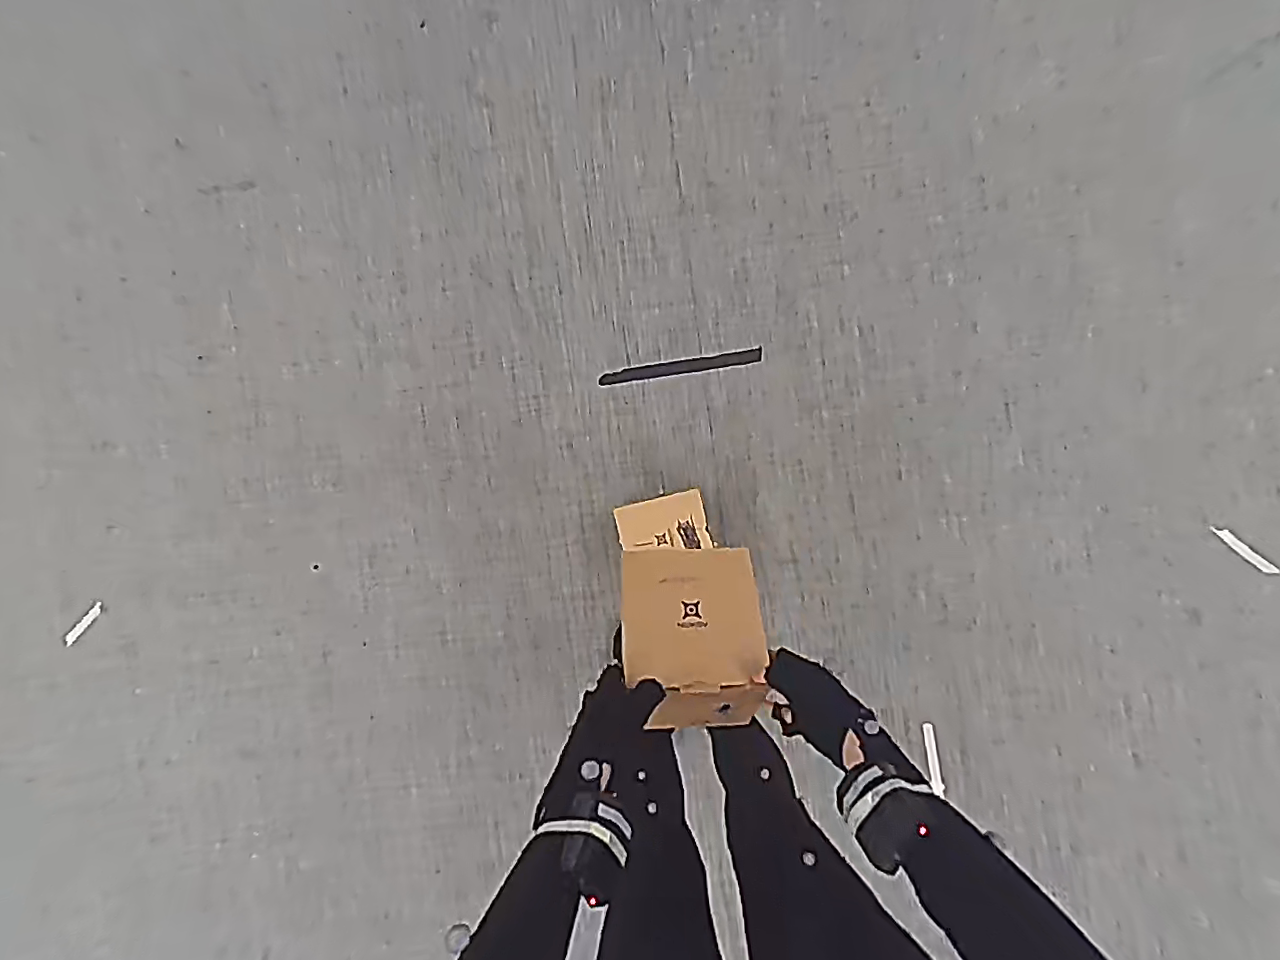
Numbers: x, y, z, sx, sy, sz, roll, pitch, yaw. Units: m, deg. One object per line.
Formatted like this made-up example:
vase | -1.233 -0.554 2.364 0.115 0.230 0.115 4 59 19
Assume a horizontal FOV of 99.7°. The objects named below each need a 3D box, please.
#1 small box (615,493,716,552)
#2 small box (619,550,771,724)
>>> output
small box | 0.057 0.123 1.118 0.179 0.176 0.168 -13 89 4
small box | 0.057 0.207 0.698 0.168 0.176 0.179 0 53 -4
